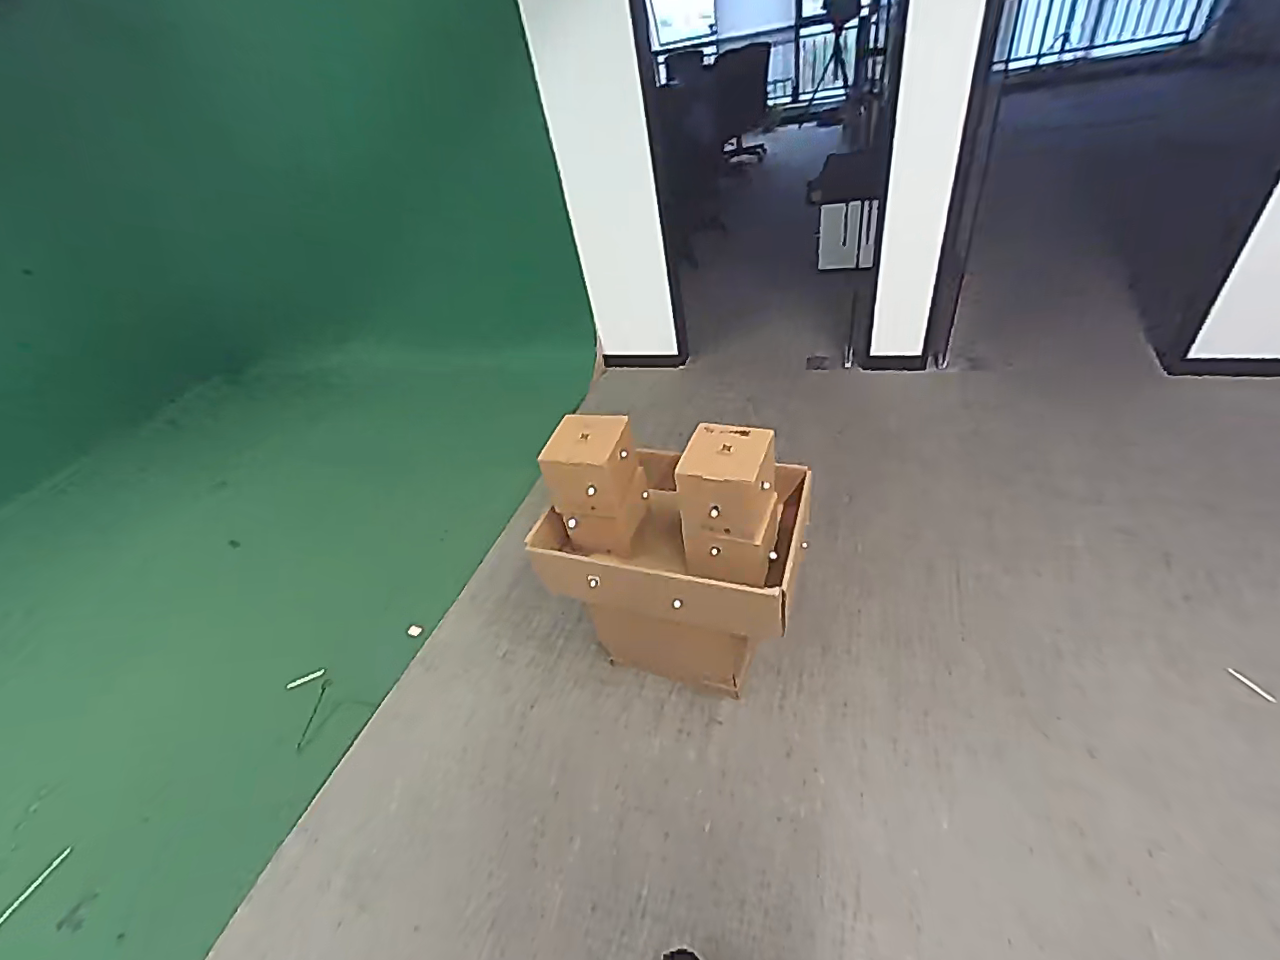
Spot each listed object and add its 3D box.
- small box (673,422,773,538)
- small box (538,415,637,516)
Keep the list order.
[{"bbox_3d":[0.186,0.000,1.156,0.168,0.176,0.179,9,45,23],"label":"small box"},{"bbox_3d":[-0.114,-0.034,1.278,0.168,0.176,0.179,4,43,18],"label":"small box"}]
